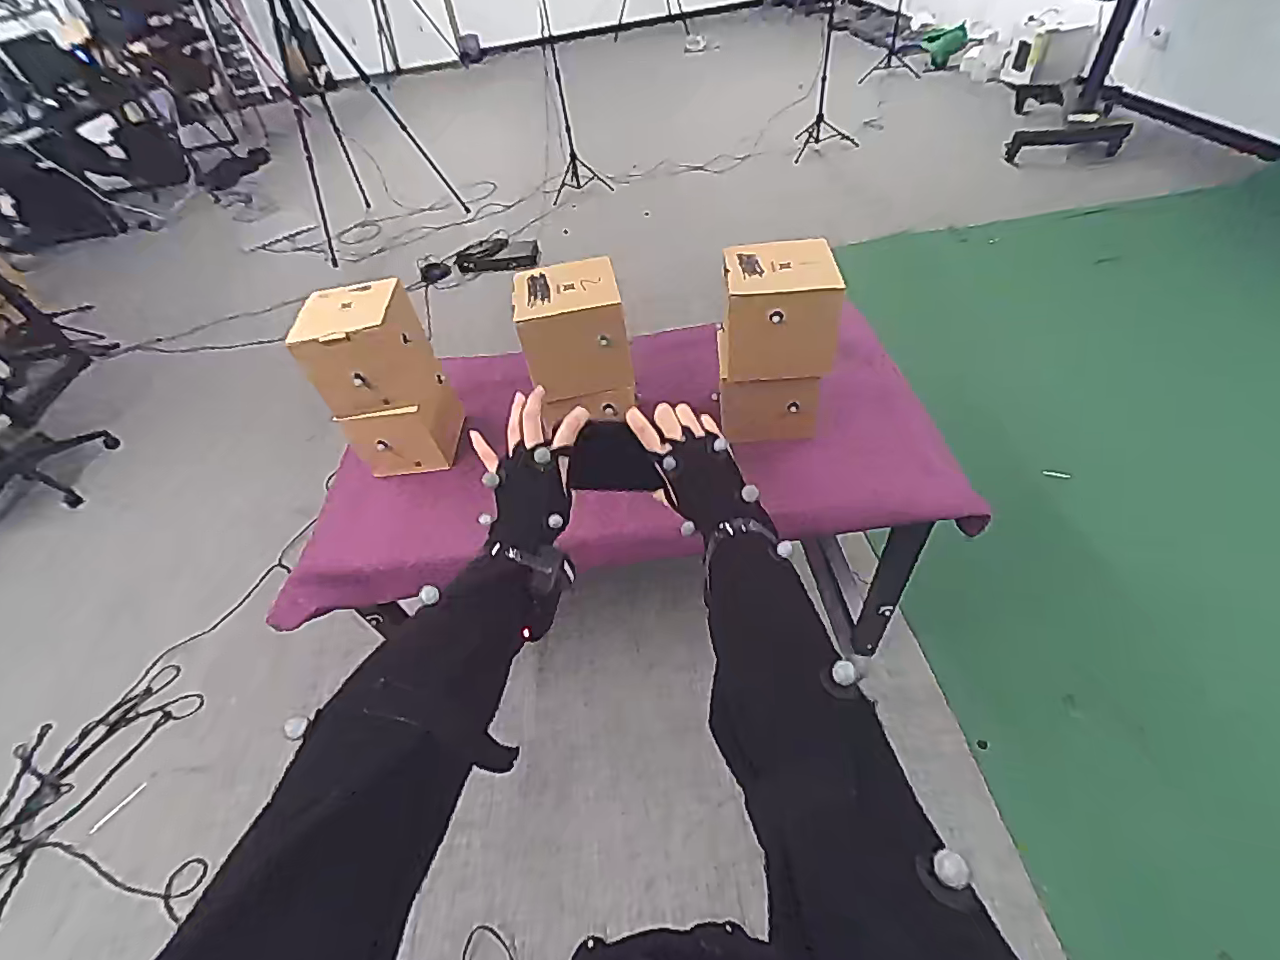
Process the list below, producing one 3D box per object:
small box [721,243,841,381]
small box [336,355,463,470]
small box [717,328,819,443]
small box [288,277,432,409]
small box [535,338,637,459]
[{"bbox_3d":[0.230,-0.284,0.929,0.179,0.176,0.168,-1,48,7],"label":"small box"},{"bbox_3d":[-0.487,-0.134,1.126,0.168,0.176,0.179,-6,48,4],"label":"small box"},{"bbox_3d":[0.240,-0.186,1.060,0.179,0.176,0.168,-2,48,8],"label":"small box"},{"bbox_3d":[-0.506,-0.249,1.010,0.168,0.176,0.179,-9,48,0],"label":"small box"},{"bbox_3d":[-0.099,-0.161,1.088,0.179,0.176,0.168,-6,48,3],"label":"small box"}]
